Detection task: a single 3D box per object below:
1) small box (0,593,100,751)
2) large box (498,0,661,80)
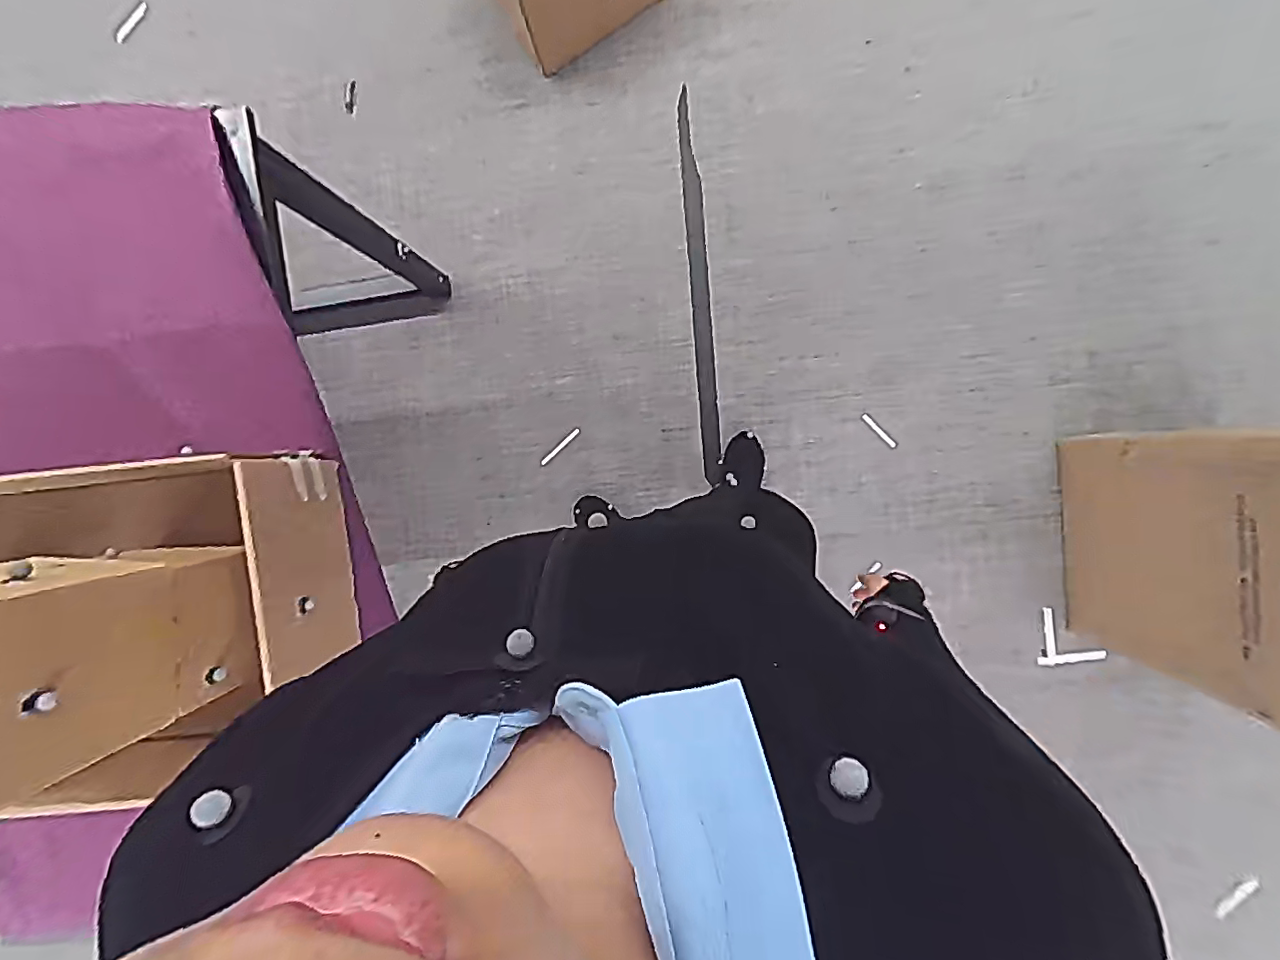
[{"bbox_3d":[-0.844,0.246,0.676,0.168,0.176,0.179,-9,91,3],"label":"small box"},{"bbox_3d":[-0.164,-1.277,1.266,0.408,0.320,0.320,-32,90,5],"label":"large box"}]
